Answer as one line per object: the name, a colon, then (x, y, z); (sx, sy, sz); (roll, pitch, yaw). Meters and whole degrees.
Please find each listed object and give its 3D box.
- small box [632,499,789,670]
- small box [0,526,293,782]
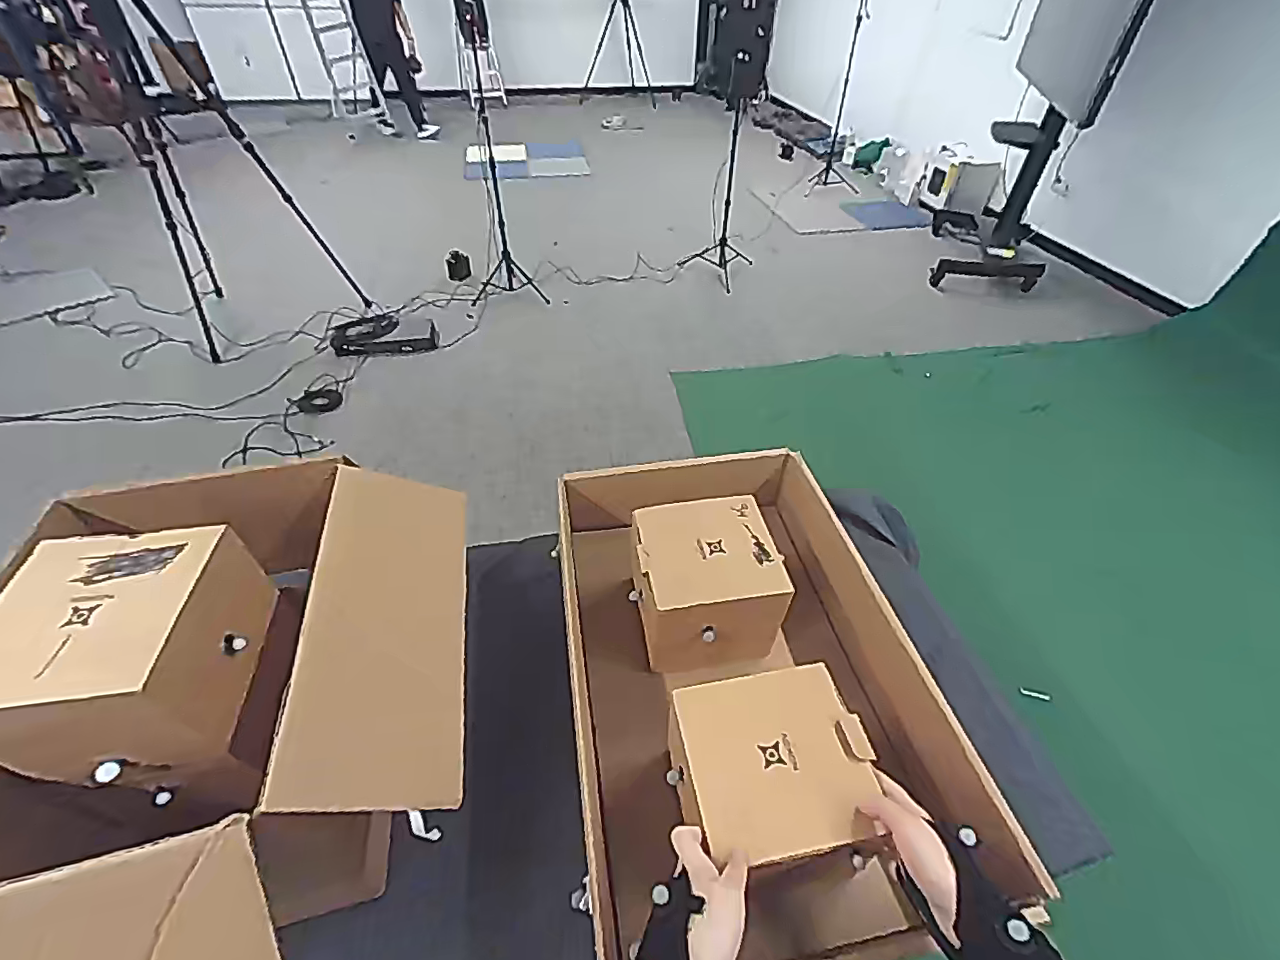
small box: (0.088, 0.150, 0.764); (0.179, 0.176, 0.168); (-7, 47, -7)
small box: (-0.476, 0.169, 0.530); (0.168, 0.176, 0.179); (-5, 46, -7)
